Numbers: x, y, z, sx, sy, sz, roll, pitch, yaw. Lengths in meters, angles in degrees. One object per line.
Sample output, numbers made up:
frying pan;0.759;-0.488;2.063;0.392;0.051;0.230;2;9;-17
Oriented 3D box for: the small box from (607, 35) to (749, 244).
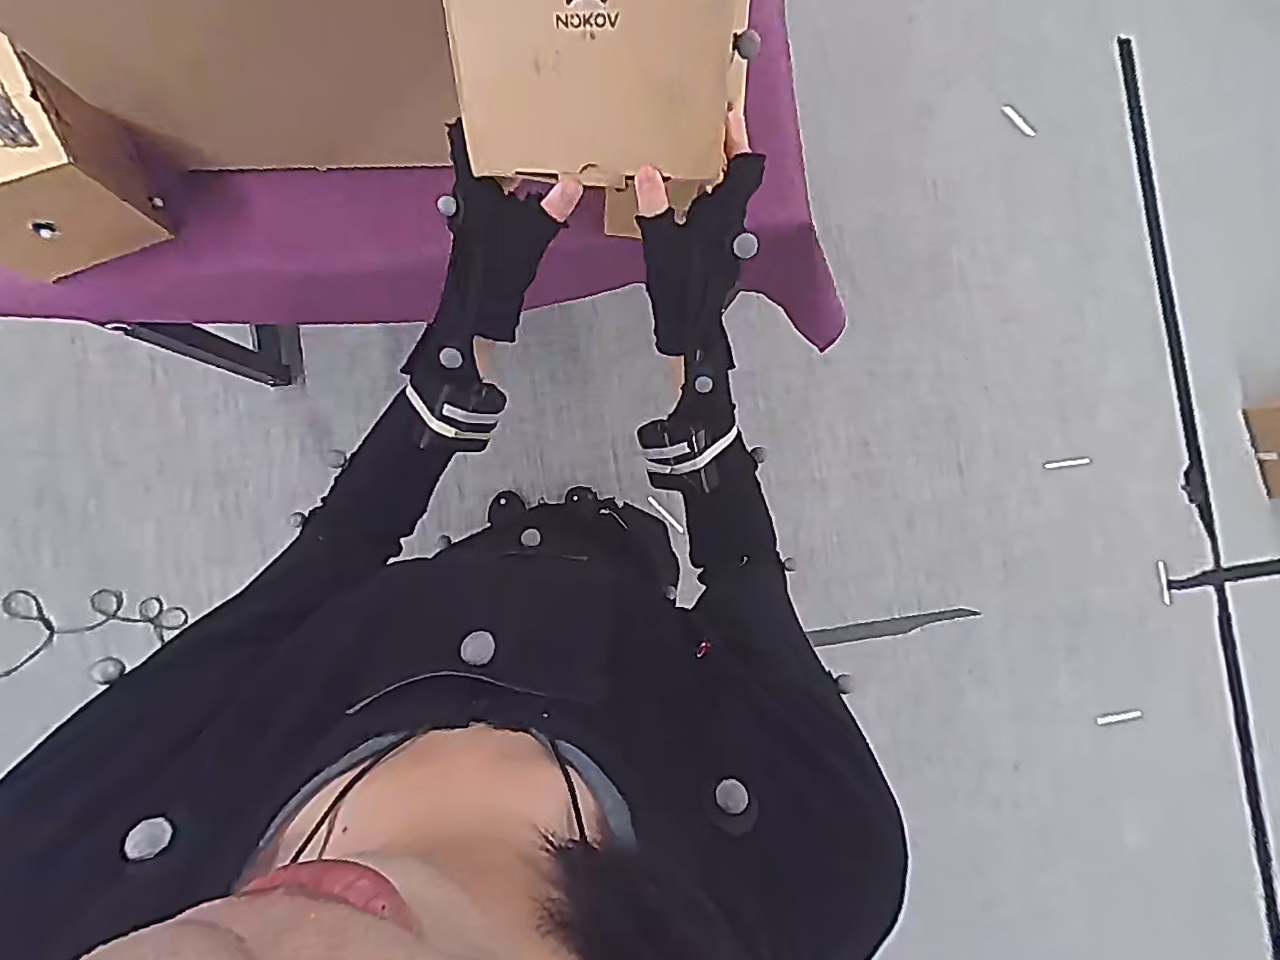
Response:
small box;0.043;-0.453;0.749;0.168;0.176;0.179;4;86;-6
